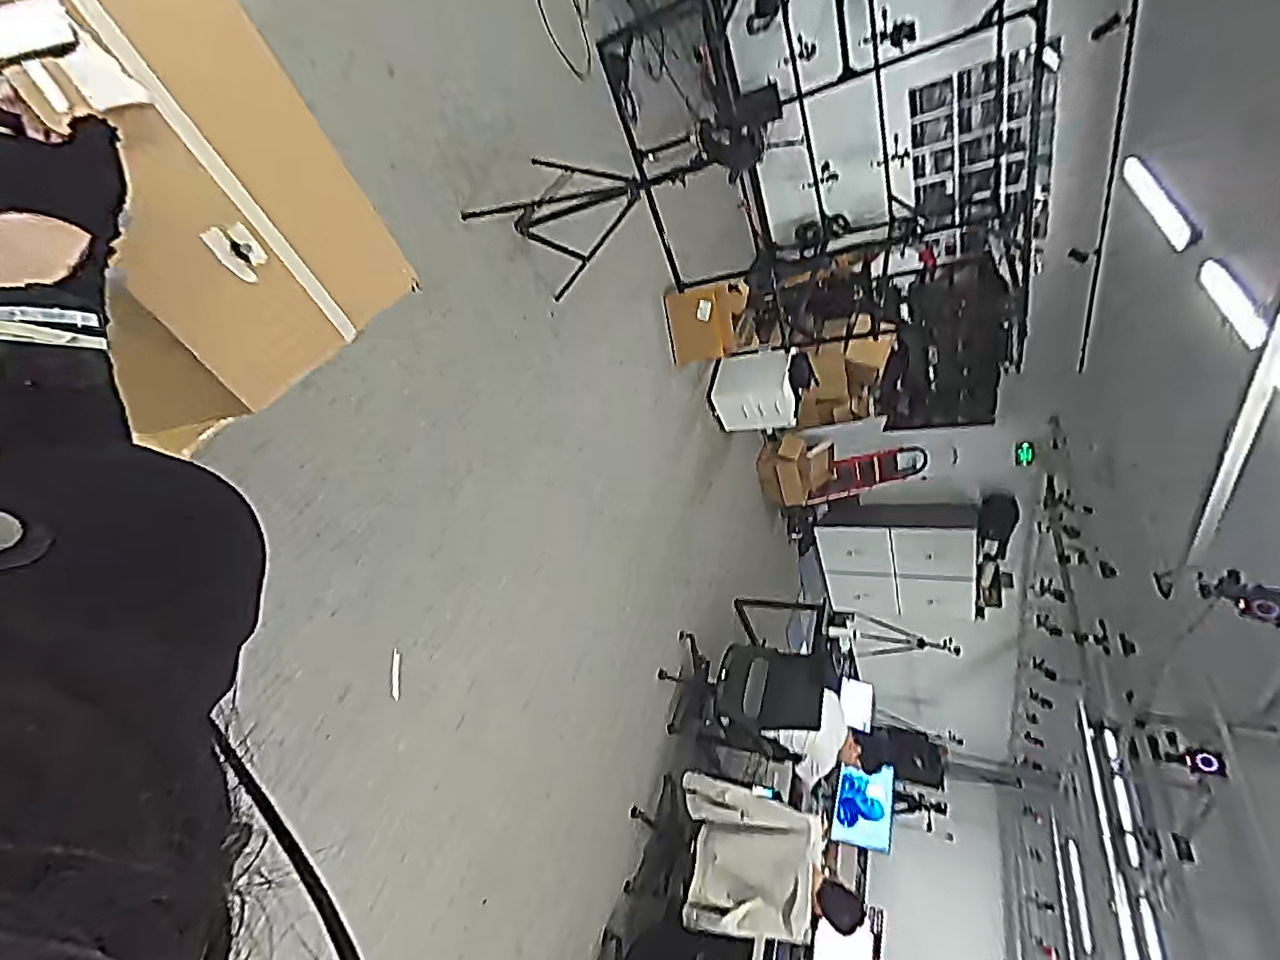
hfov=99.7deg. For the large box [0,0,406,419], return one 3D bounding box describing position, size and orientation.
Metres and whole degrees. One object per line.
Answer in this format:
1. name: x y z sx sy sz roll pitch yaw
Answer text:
1. large box: -0.592 -0.329 0.649 0.408 0.320 0.320 64 37 -37
